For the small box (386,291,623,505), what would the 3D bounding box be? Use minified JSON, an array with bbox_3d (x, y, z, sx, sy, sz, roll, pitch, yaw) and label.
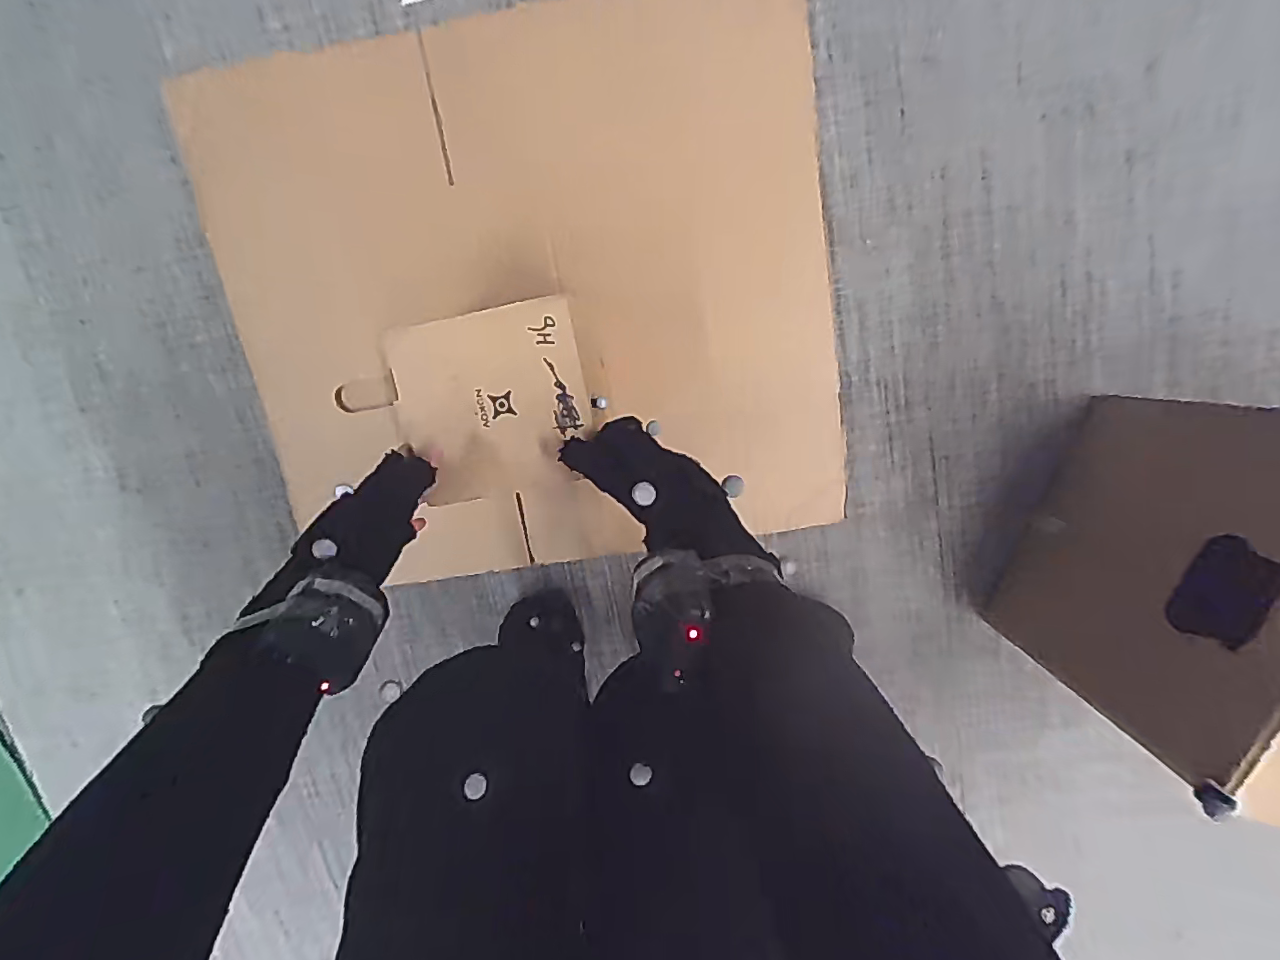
[{"bbox_3d":[-0.128,-0.088,0.582,0.179,0.176,0.168,-15,101,7],"label":"small box"}]
